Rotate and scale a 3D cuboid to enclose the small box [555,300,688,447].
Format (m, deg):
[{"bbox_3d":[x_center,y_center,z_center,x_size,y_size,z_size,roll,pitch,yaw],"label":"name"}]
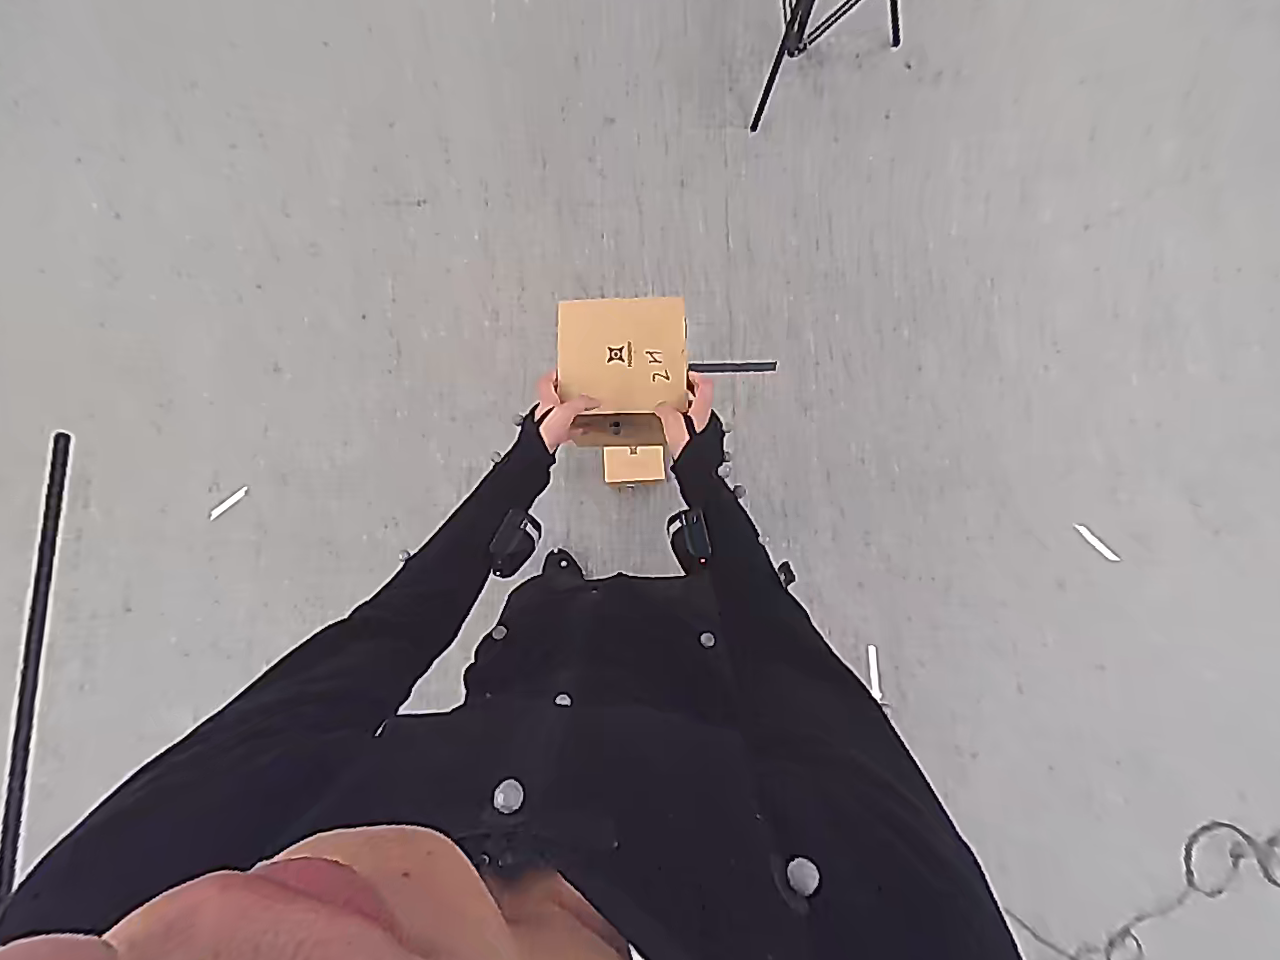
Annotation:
[{"bbox_3d":[-0.020,-0.147,0.793,0.179,0.176,0.168,0,79,2],"label":"small box"}]

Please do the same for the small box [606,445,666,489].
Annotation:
[{"bbox_3d":[-0.013,-0.073,1.566,0.168,0.176,0.179,-3,84,0],"label":"small box"}]
